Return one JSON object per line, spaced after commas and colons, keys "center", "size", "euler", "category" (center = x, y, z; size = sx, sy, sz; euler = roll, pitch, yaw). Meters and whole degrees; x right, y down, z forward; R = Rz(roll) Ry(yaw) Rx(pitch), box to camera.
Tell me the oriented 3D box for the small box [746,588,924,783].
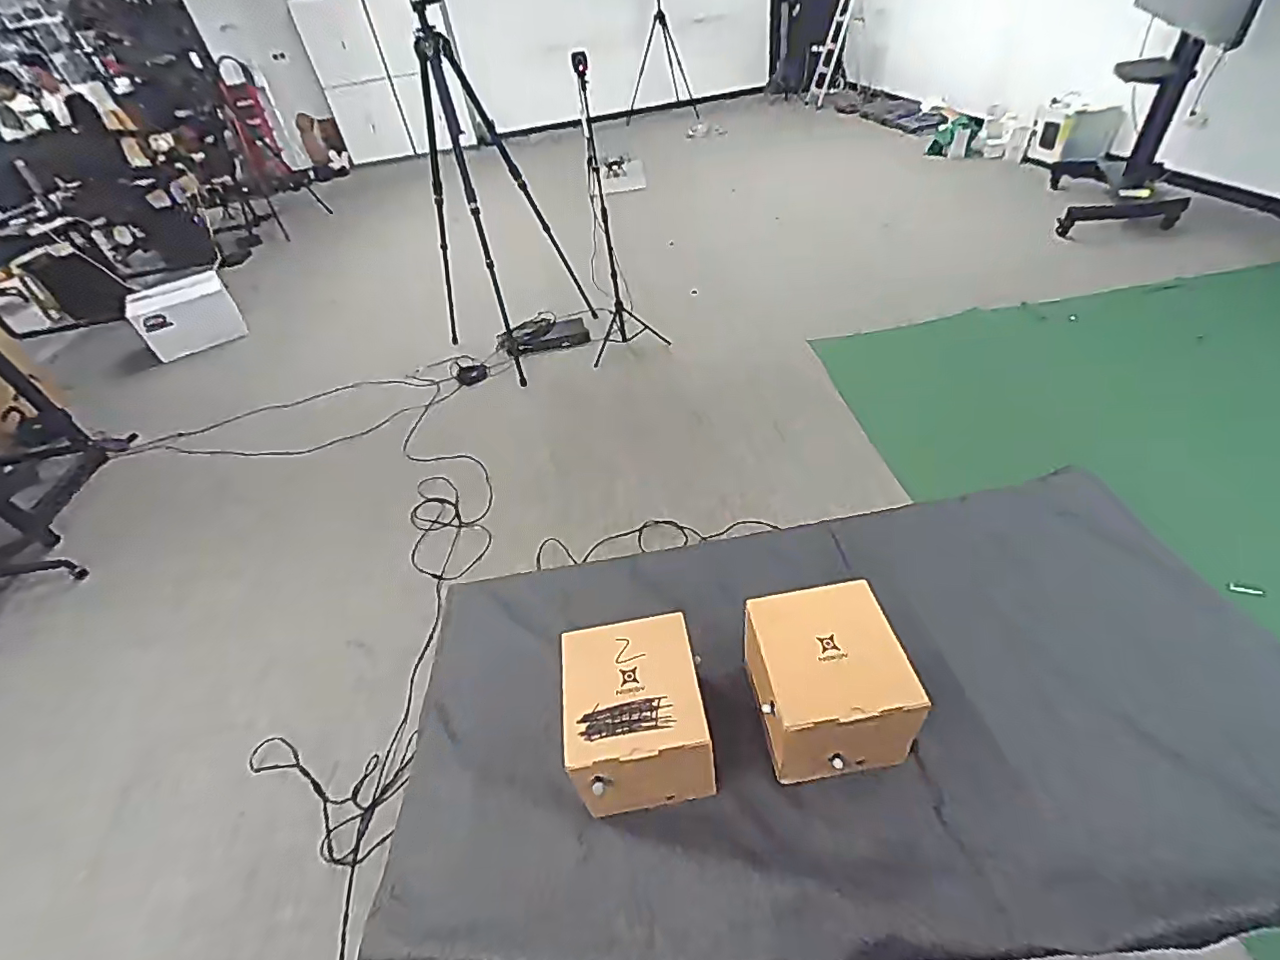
{"center": [0.242, 0.274, 0.725], "size": [0.168, 0.176, 0.179], "euler": [-10, 43, 0], "category": "small box"}
